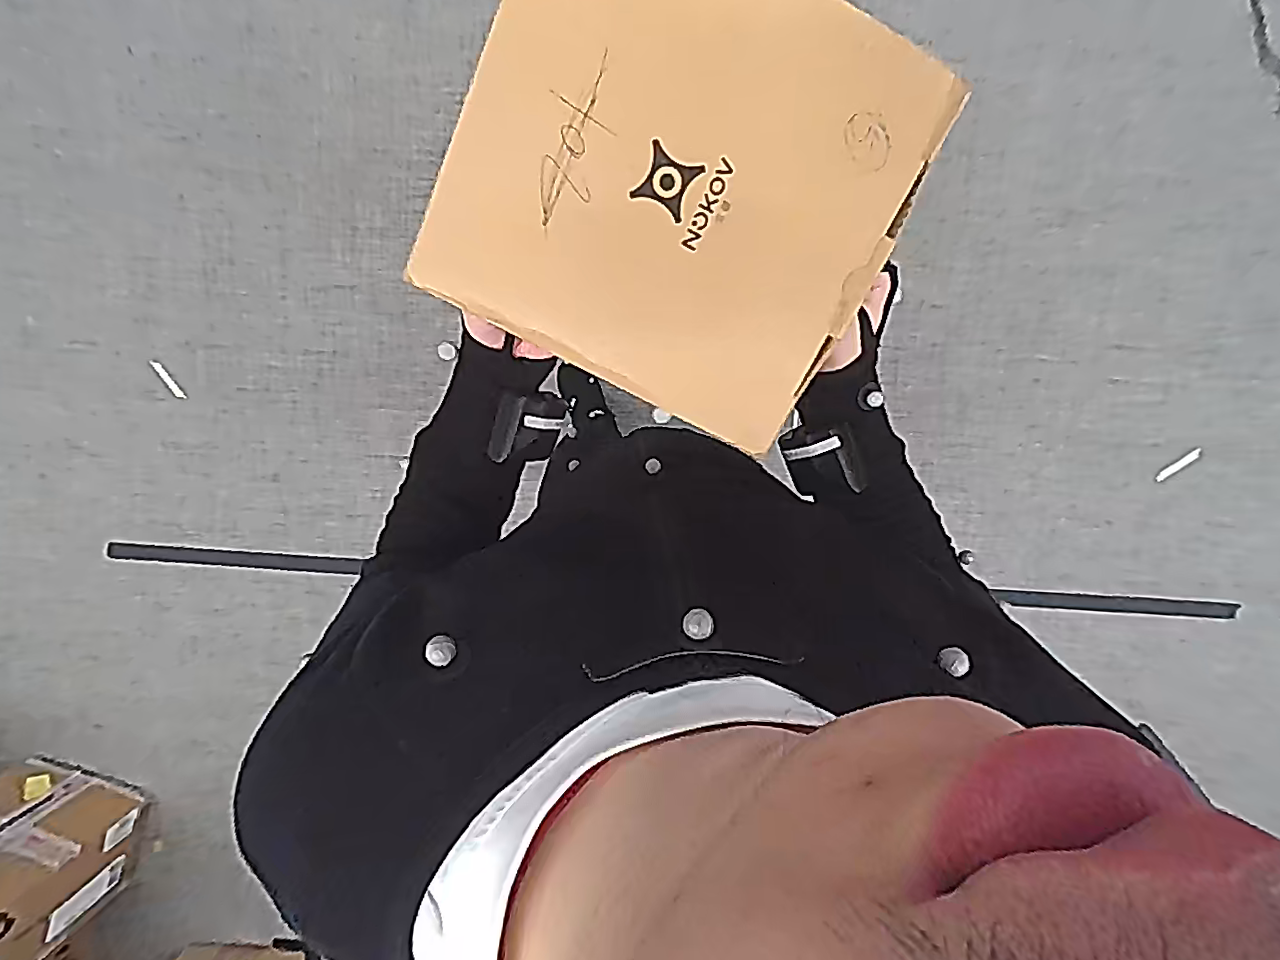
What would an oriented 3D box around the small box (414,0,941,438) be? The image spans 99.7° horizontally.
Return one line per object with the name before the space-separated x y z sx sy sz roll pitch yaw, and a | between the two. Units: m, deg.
small box | 0.012 -0.146 0.305 0.179 0.176 0.168 25 103 -6
